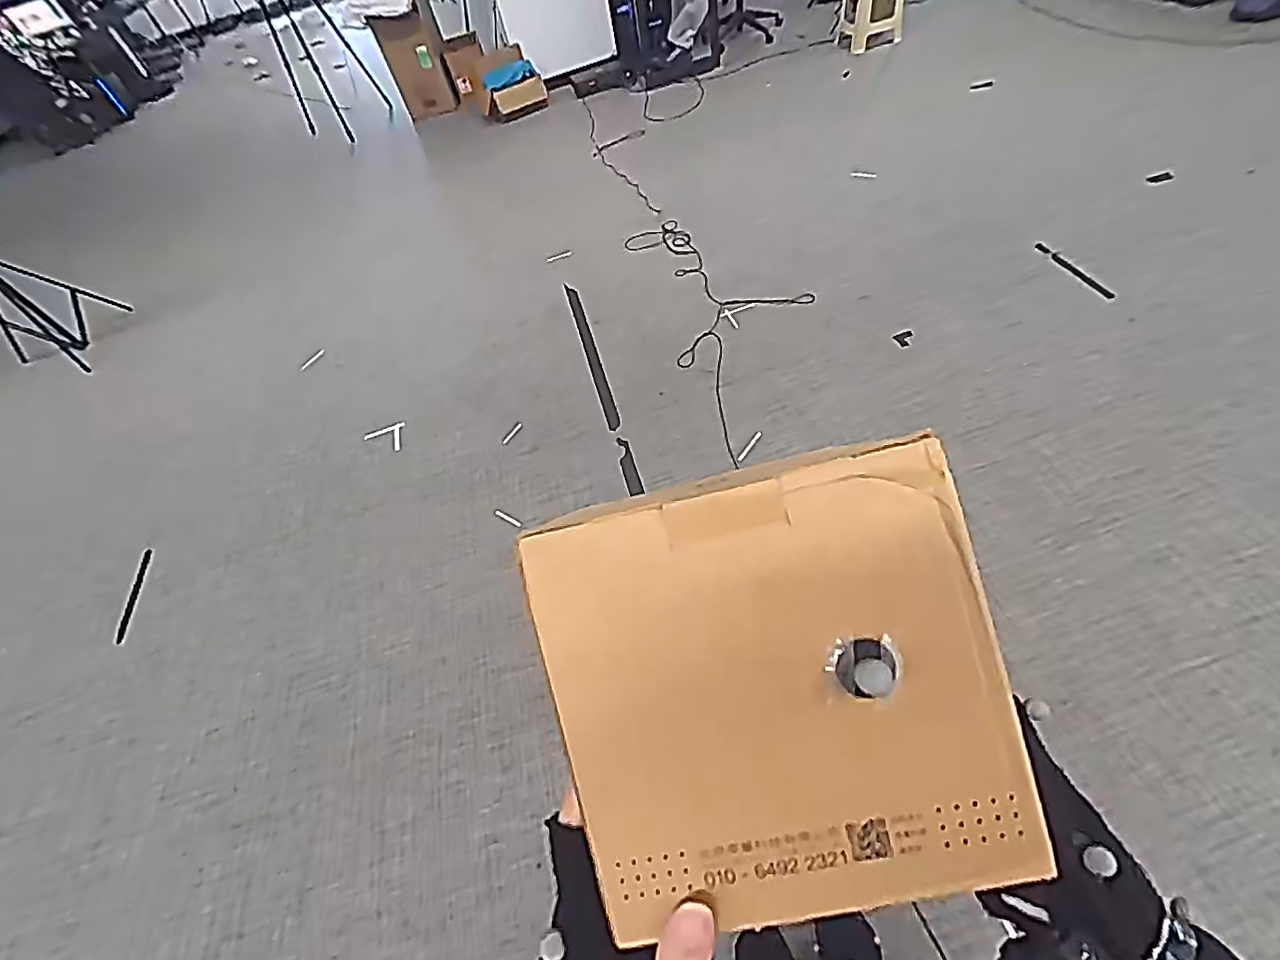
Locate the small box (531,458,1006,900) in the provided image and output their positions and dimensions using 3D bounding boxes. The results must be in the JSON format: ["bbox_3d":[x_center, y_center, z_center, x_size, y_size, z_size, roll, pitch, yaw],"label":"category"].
[{"bbox_3d":[0.062,0.091,0.301,0.168,0.179,0.176,-15,89,8],"label":"small box"}]
